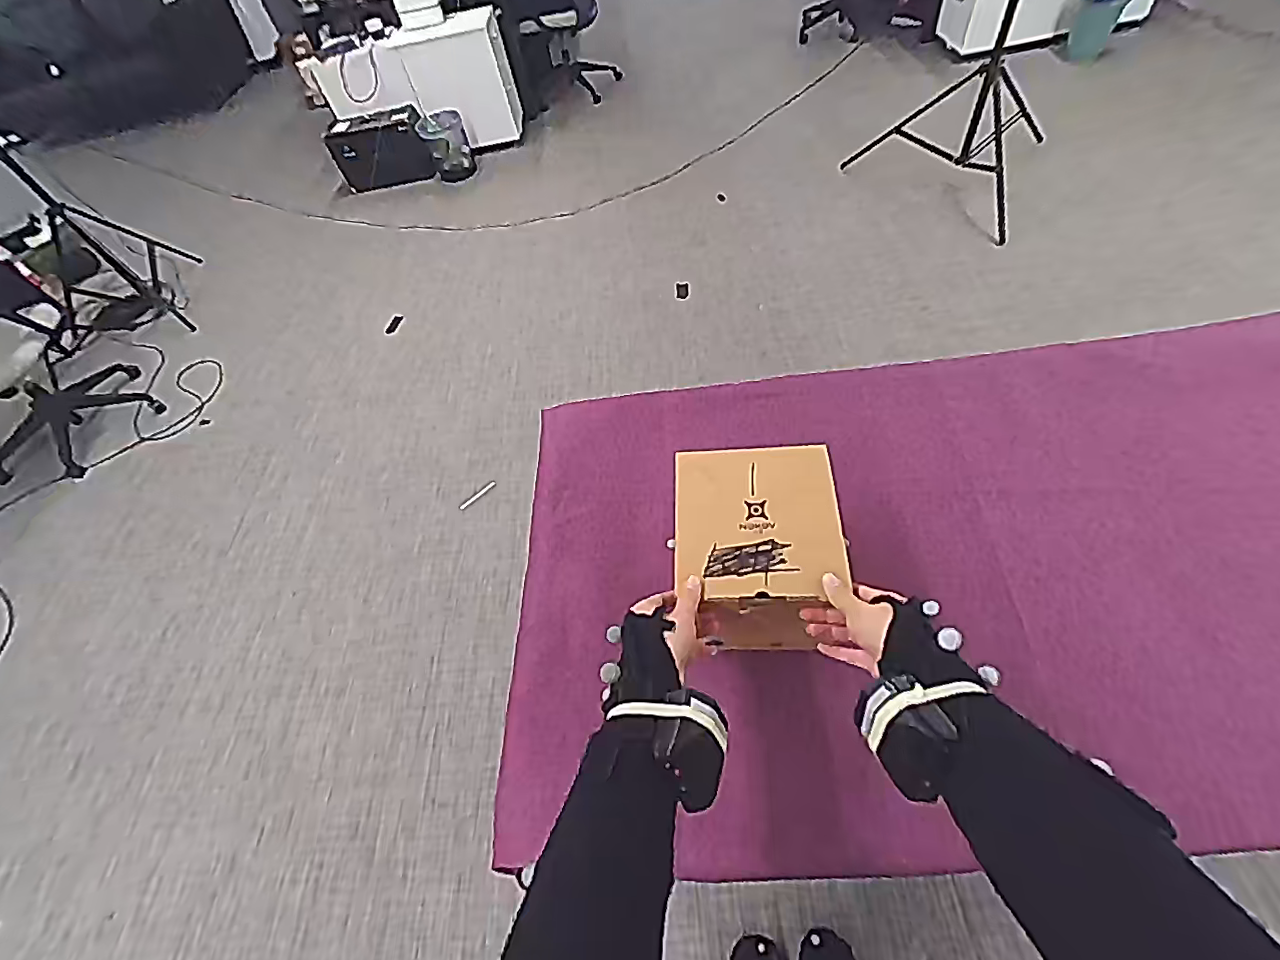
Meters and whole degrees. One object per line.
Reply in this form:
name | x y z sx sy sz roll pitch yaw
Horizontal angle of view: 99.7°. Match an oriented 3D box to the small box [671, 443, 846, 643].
small box | 0.127 0.080 0.618 0.168 0.176 0.179 -3 56 8
